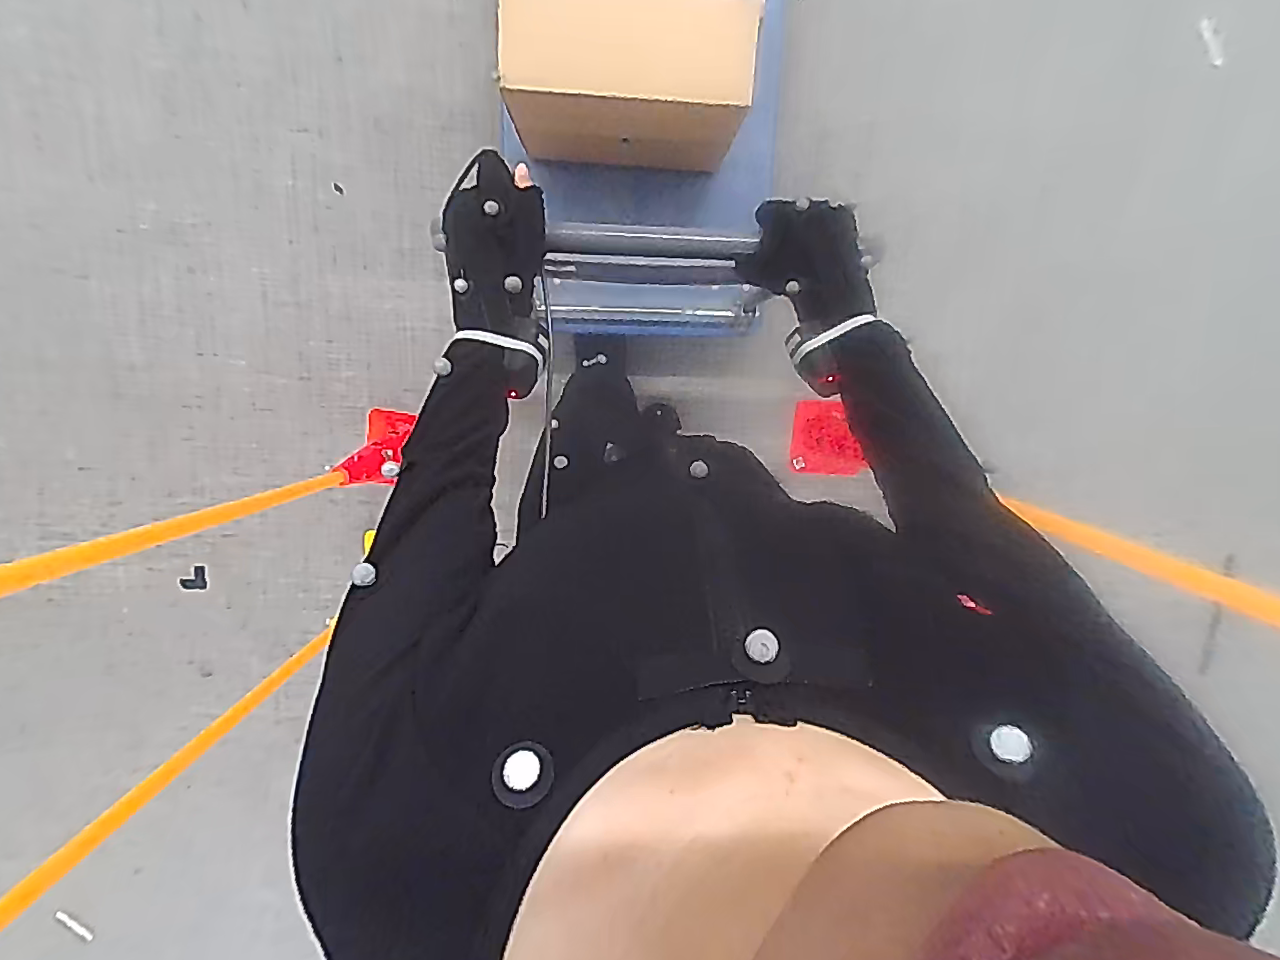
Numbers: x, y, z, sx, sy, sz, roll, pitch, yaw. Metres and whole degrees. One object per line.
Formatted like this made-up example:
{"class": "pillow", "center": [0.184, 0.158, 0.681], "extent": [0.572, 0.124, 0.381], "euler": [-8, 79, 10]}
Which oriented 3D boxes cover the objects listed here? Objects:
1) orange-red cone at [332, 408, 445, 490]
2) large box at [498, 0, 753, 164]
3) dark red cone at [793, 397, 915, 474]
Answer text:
{"class": "orange-red cone", "center": [-0.613, -0.049, 1.257], "extent": [0.198, 0.360, 0.199], "euler": [10, 100, -5]}
{"class": "large box", "center": [-0.024, -0.794, 0.975], "extent": [0.408, 0.320, 0.320], "euler": [2, 102, -2]}
{"class": "dark red cone", "center": [0.521, -0.083, 1.278], "extent": [0.201, 0.394, 0.202], "euler": [2, 102, -5]}
